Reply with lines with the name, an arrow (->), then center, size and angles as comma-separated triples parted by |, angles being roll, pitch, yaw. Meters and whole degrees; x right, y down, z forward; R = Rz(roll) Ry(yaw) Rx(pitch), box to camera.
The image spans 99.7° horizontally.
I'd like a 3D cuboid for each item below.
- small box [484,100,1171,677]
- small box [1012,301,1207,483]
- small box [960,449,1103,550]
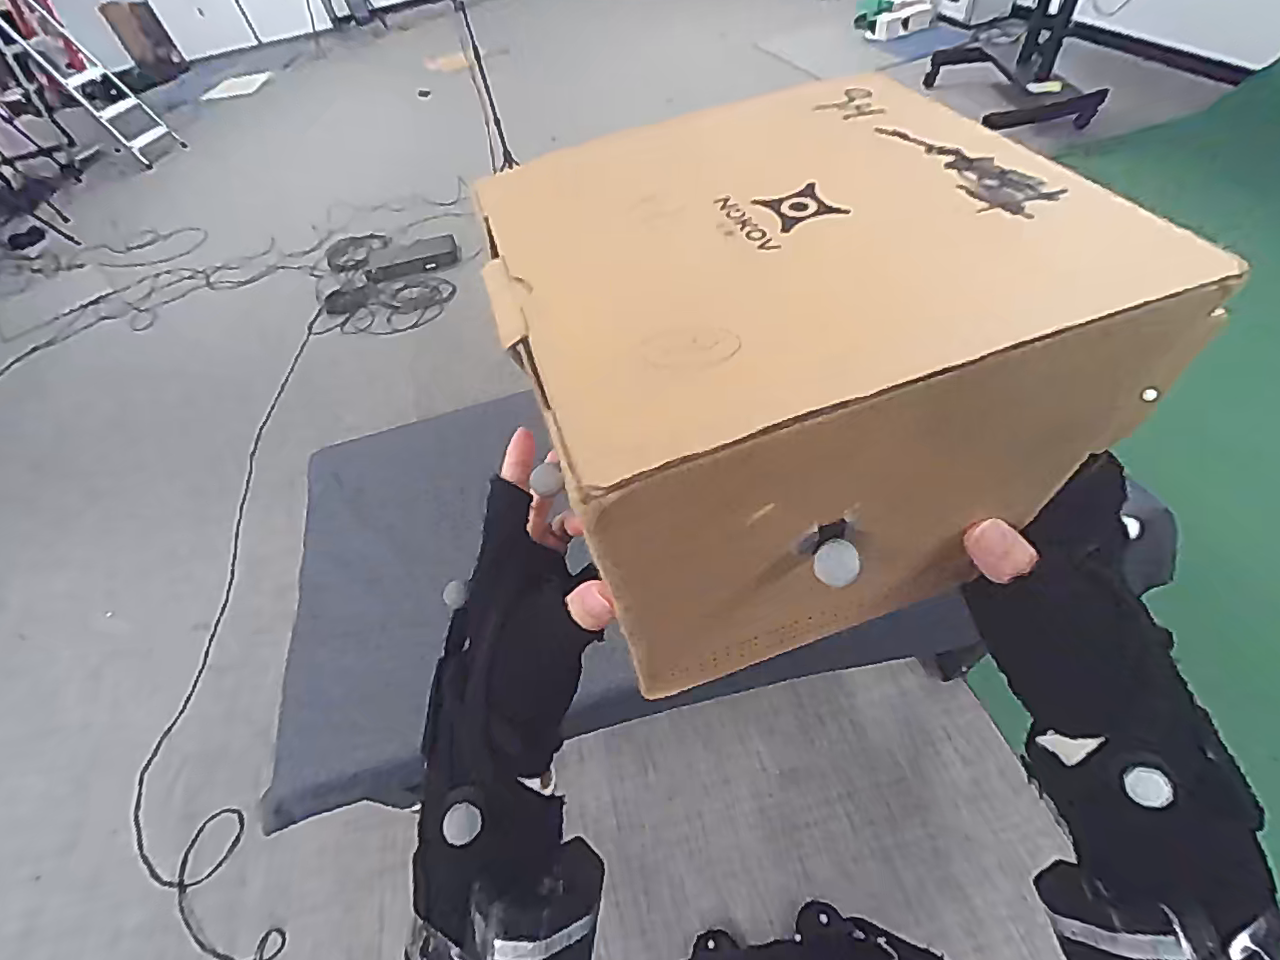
small box -> 0.050, -0.034, 0.249 | 0.179, 0.176, 0.168 | -19, 53, -6
small box -> 0.437, -0.120, 0.607 | 0.179, 0.176, 0.168 | -19, 49, -4
small box -> 0.458, -0.026, 0.737 | 0.168, 0.176, 0.179 | -20, 50, -6
